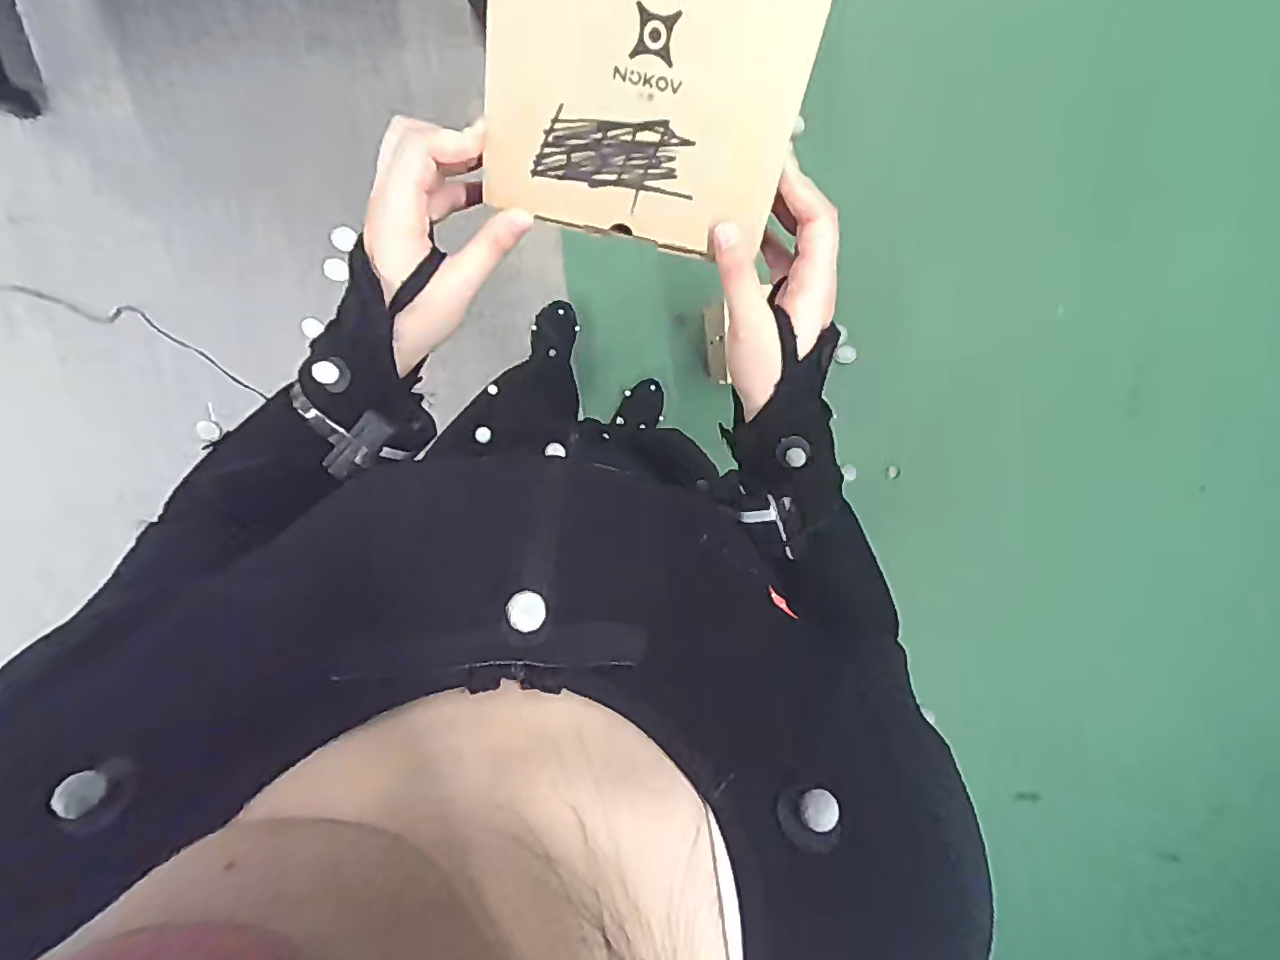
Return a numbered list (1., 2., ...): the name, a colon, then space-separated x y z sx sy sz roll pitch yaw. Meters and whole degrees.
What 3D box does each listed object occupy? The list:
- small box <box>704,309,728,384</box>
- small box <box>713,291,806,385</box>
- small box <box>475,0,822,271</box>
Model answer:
1. small box: 0.253 -0.336 1.325 0.168 0.176 0.179 -7 106 3
2. small box: 0.252 -0.305 1.165 0.168 0.176 0.179 -4 106 2
3. small box: 0.003 -0.253 0.340 0.168 0.176 0.179 10 122 -4
